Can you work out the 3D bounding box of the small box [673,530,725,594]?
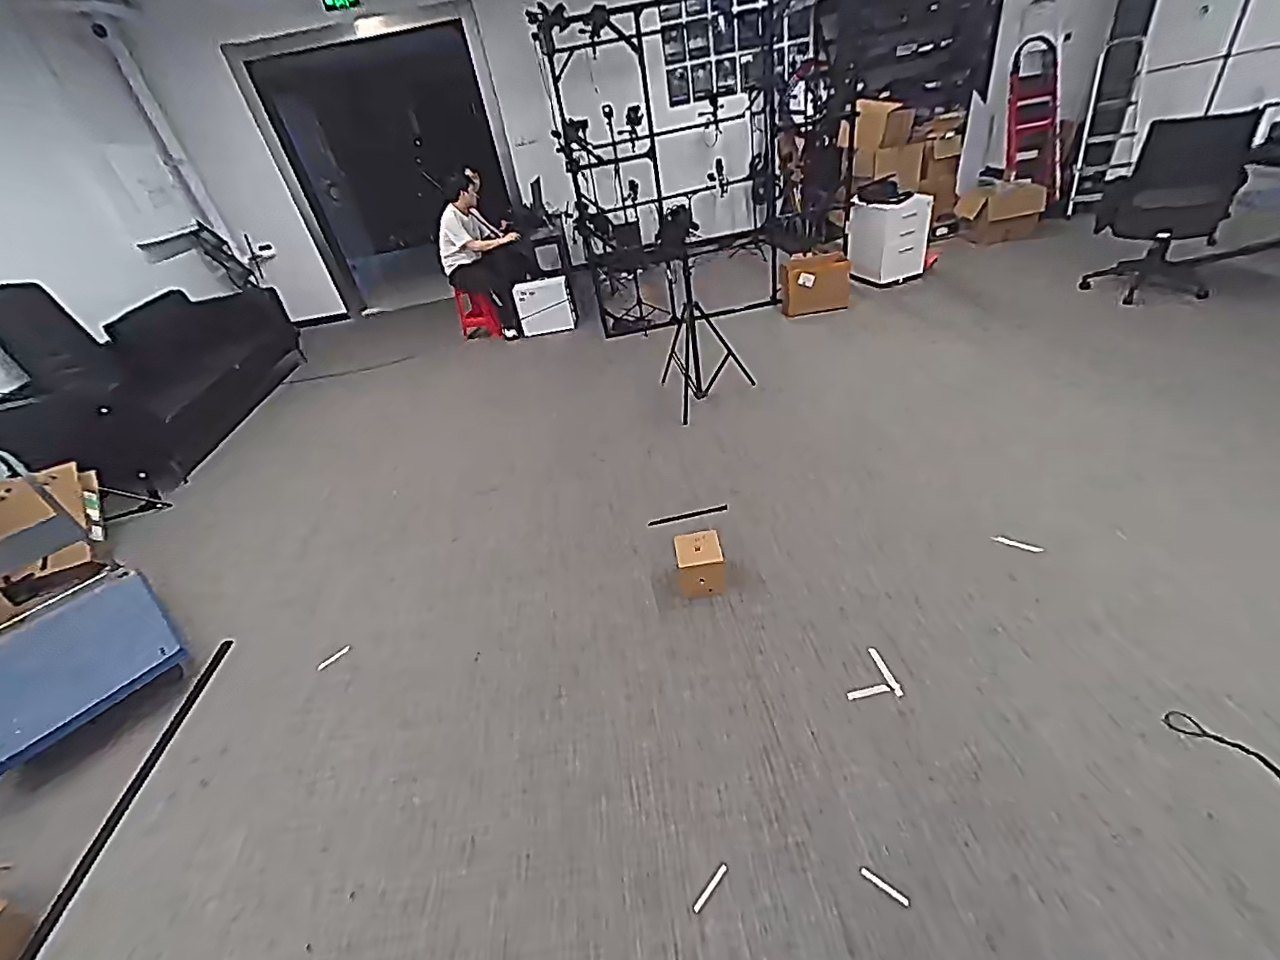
[{"bbox_3d":[0.225,0.317,2.055,0.168,0.176,0.179,-9,34,3],"label":"small box"}]
